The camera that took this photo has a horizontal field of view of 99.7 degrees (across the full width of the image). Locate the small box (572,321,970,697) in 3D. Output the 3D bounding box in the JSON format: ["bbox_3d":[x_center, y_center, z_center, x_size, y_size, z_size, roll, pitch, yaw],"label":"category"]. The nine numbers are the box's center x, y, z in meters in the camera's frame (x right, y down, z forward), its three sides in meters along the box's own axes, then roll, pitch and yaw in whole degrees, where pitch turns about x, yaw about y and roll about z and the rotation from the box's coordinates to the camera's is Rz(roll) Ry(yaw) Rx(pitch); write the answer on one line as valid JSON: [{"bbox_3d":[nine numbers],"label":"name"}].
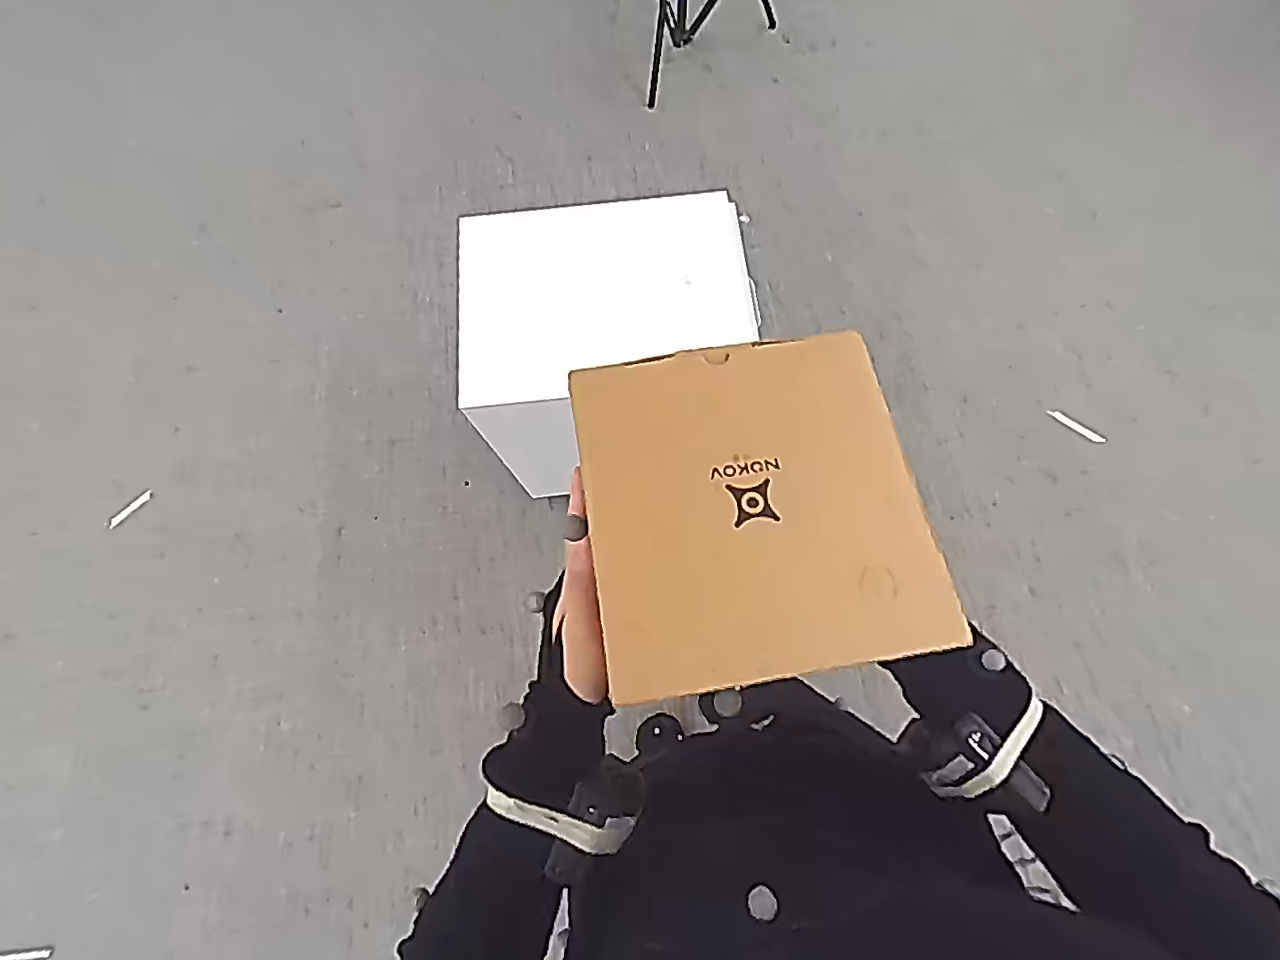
[{"bbox_3d":[0.057,0.032,0.342,0.168,0.176,0.179,-9,68,-3],"label":"small box"}]
